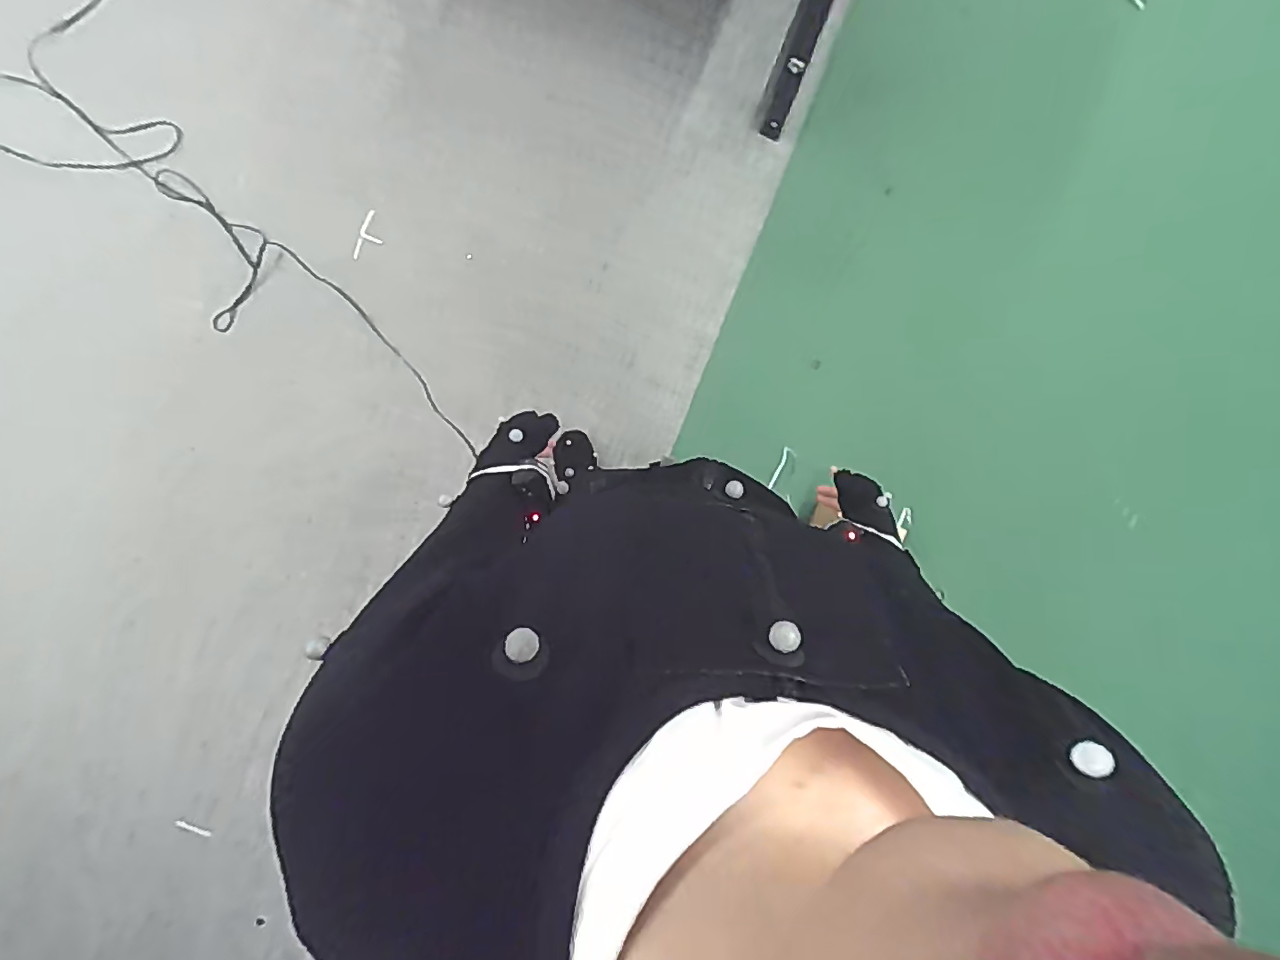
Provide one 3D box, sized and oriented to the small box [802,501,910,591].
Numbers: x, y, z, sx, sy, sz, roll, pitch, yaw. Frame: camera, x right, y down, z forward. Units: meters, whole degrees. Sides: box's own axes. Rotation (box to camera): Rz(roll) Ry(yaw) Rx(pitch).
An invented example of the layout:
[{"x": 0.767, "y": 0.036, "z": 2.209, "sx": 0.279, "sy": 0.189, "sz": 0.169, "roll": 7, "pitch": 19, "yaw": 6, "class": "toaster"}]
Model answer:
[{"x": 0.548, "y": 0.160, "z": 1.393, "sx": 0.179, "sy": 0.176, "sz": 0.168, "roll": 22, "pitch": 93, "yaw": 0, "class": "small box"}]
